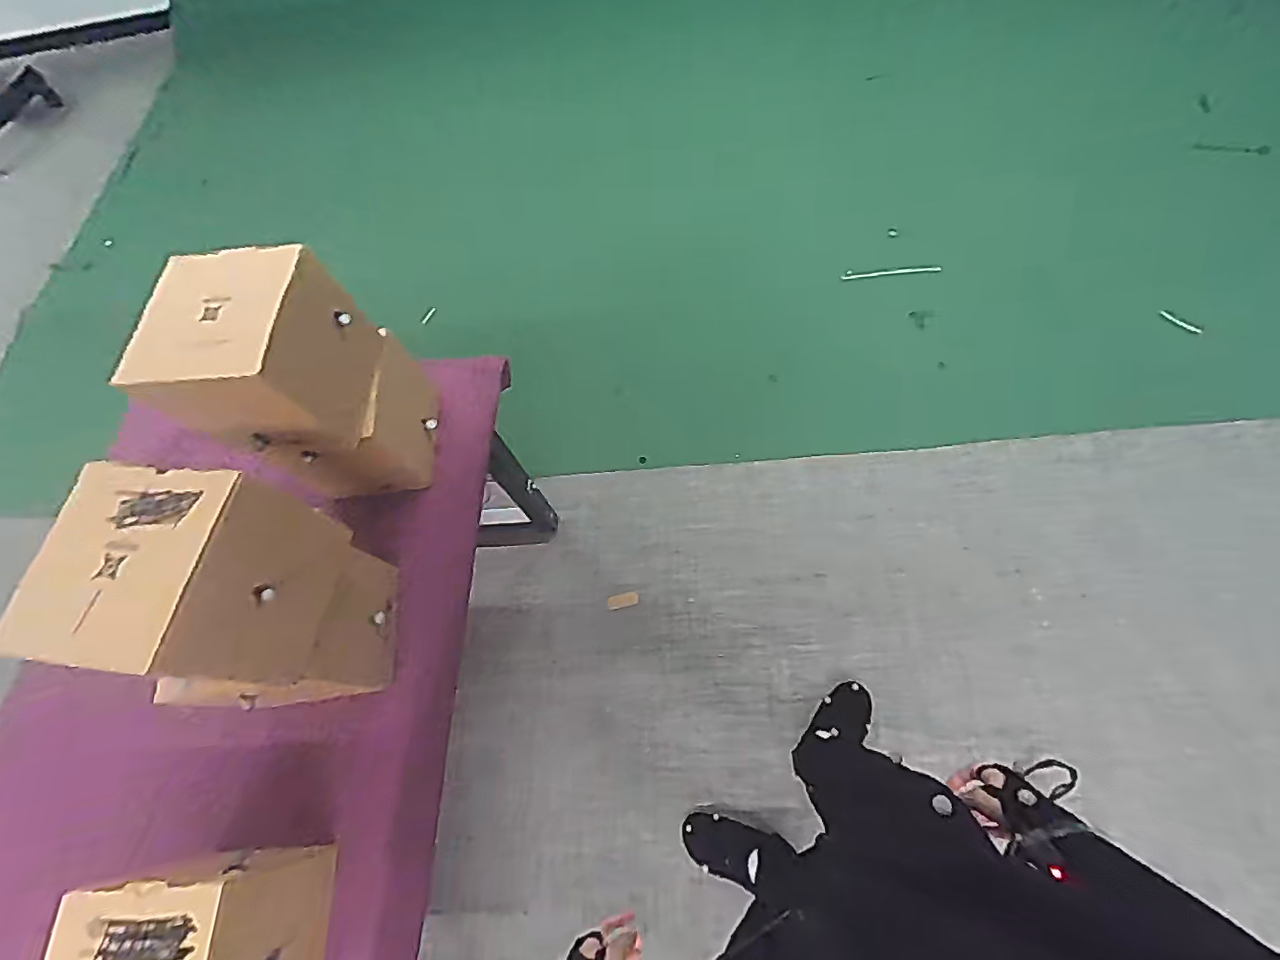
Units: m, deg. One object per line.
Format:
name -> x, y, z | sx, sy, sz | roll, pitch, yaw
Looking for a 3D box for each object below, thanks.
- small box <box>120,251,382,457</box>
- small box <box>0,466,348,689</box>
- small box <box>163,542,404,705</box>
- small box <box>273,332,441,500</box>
small box -> -0.440, -0.142, 0.649 | 0.168, 0.176, 0.179 | -2, 67, 7
small box -> -0.429, 0.102, 0.537 | 0.168, 0.176, 0.179 | 3, 67, 11
small box -> -0.429, 0.185, 0.682 | 0.179, 0.176, 0.168 | -10, 65, 4
small box -> -0.411, -0.088, 0.801 | 0.168, 0.176, 0.179 | -7, 66, 5
